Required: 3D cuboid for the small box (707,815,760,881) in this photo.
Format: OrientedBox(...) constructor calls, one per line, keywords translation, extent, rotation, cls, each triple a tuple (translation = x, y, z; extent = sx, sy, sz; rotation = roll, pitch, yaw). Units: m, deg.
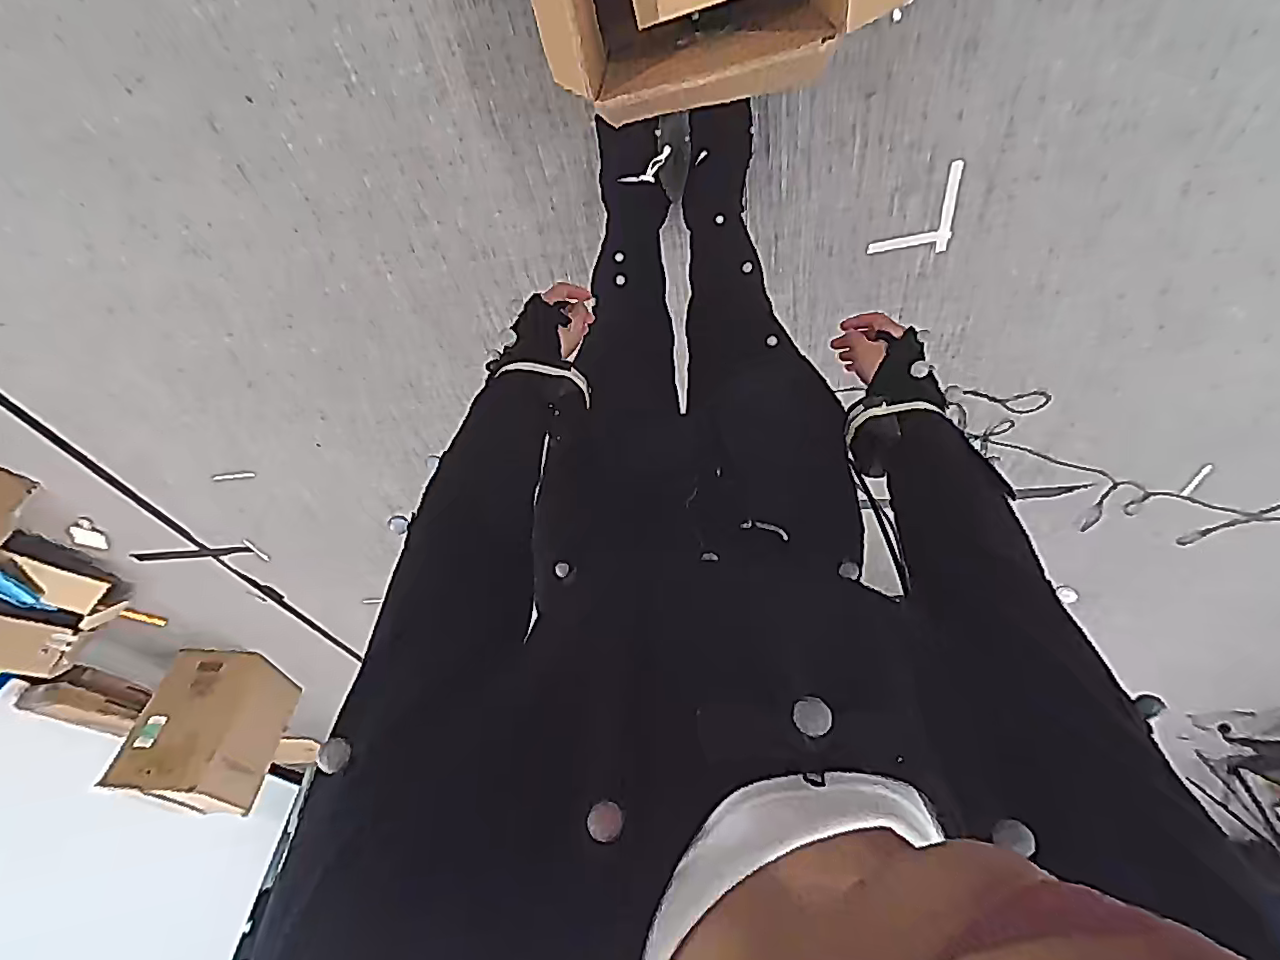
OrientedBox(translation=(0.317, 1.264, 1.854), extent=(0.168, 0.176, 0.179), rotation=(-3, 139, 6), cls="small box")
